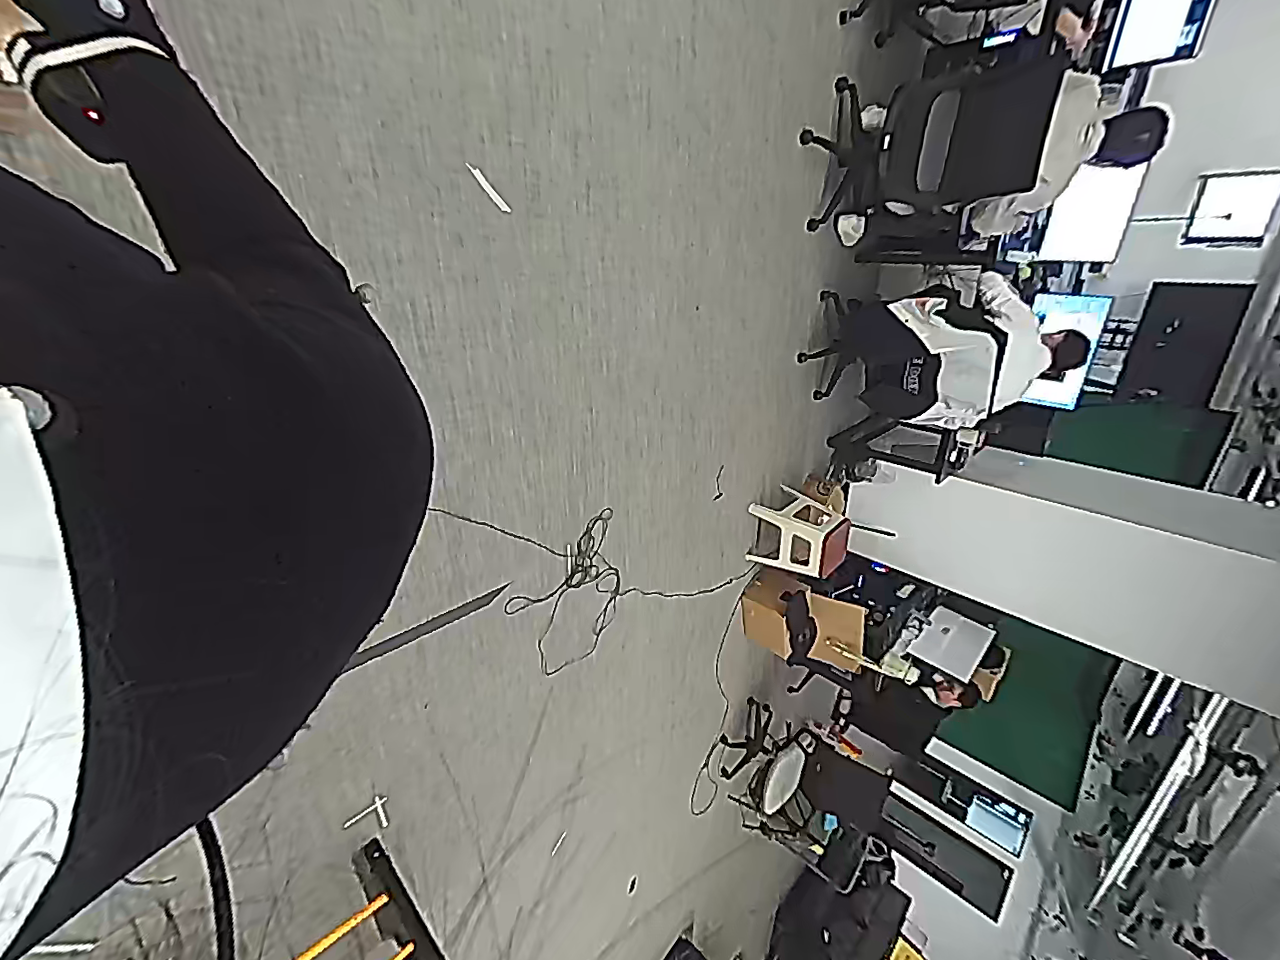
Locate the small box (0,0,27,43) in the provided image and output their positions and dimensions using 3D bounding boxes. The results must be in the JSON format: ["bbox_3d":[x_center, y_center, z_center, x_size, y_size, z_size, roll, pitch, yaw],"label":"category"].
[{"bbox_3d":[-0.706,-0.521,0.481,0.179,0.176,0.168,-20,122,-44],"label":"small box"}]
